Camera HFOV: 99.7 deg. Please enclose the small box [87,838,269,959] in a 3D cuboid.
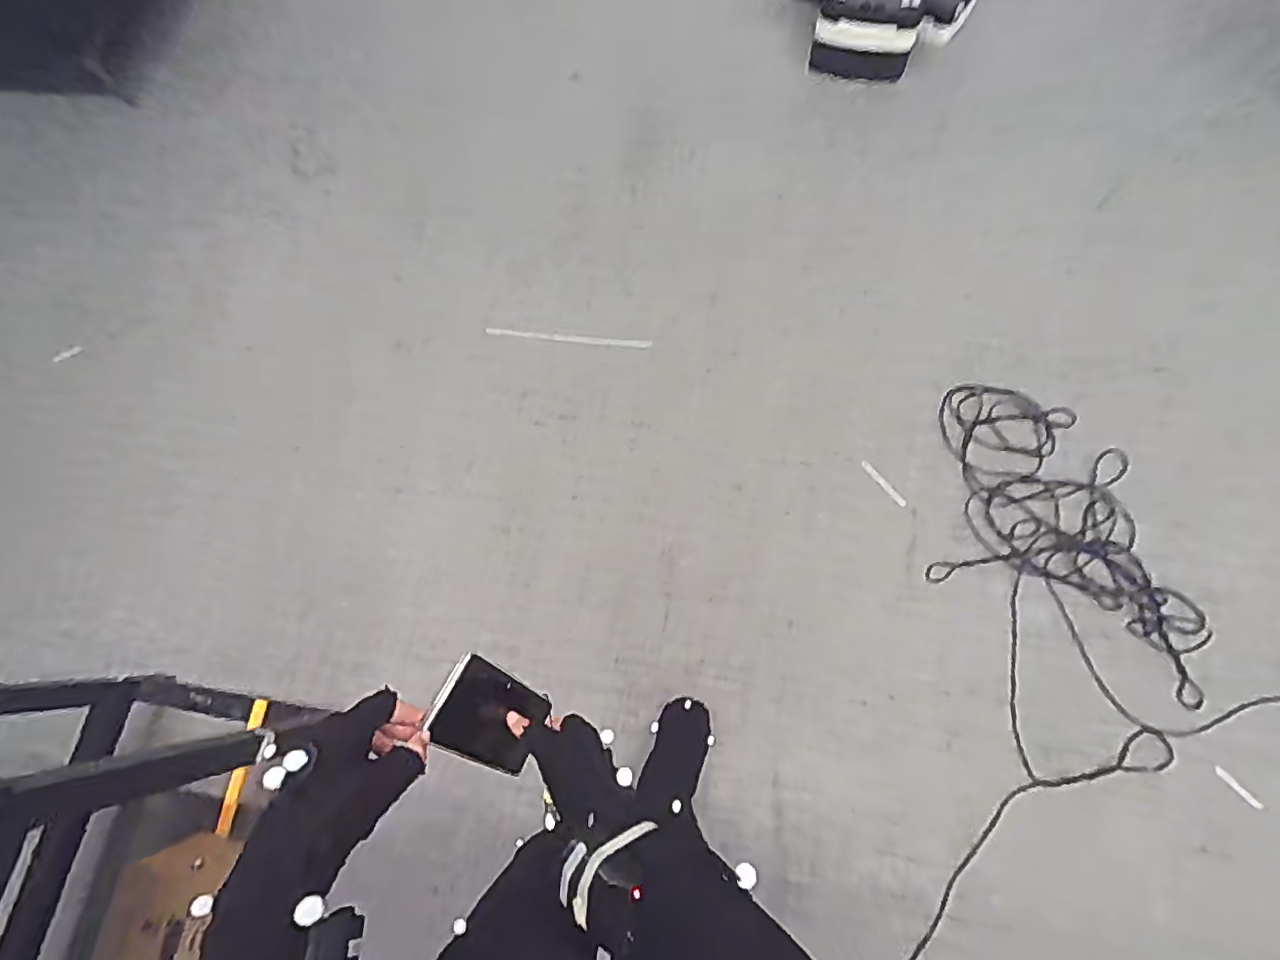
[{"bbox_3d":[-0.851,0.806,1.013,0.179,0.176,0.168,10,74,8],"label":"small box"}]
